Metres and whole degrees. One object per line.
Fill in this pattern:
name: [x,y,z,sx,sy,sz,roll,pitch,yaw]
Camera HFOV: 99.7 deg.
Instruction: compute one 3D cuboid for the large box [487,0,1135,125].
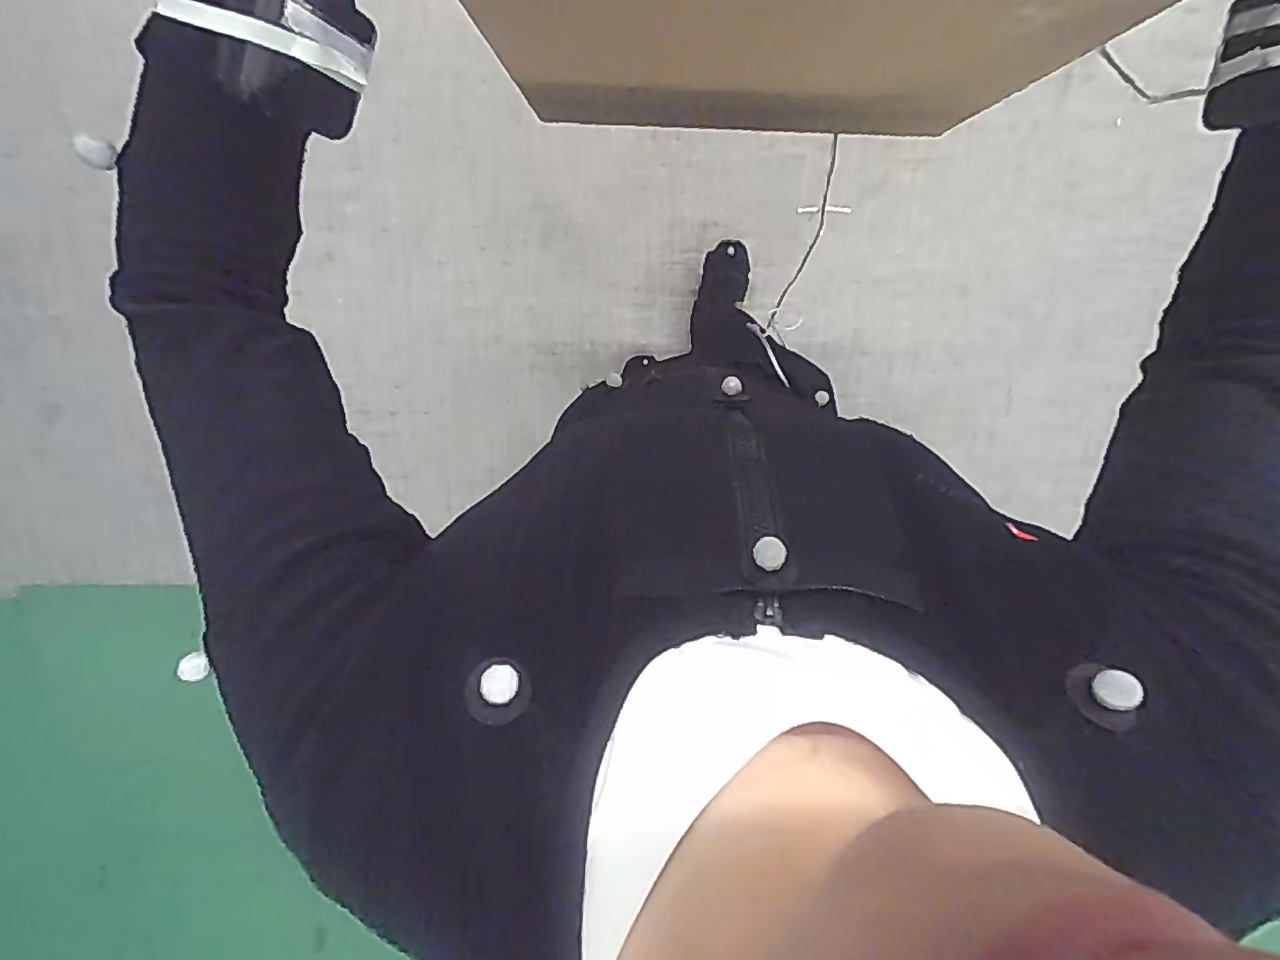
large box: [0.102,-0.456,0.356,0.408,0.320,0.320,2,109,0]
